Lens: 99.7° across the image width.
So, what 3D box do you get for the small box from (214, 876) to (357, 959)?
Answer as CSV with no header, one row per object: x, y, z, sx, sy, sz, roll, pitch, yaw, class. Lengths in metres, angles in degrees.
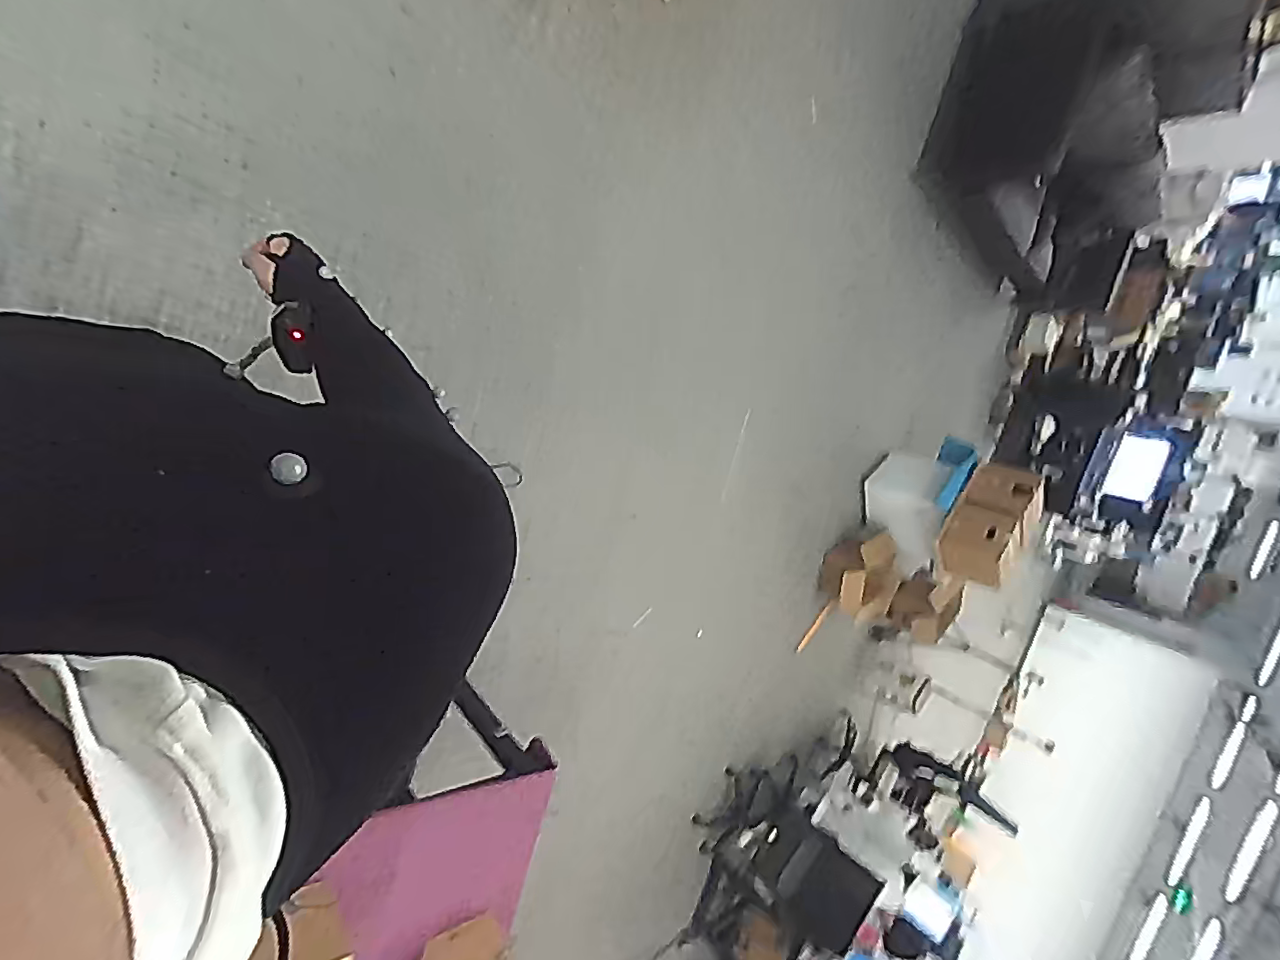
-0.613,0.840,0.923,0.168,0.176,0.179,11,99,-46,small box
